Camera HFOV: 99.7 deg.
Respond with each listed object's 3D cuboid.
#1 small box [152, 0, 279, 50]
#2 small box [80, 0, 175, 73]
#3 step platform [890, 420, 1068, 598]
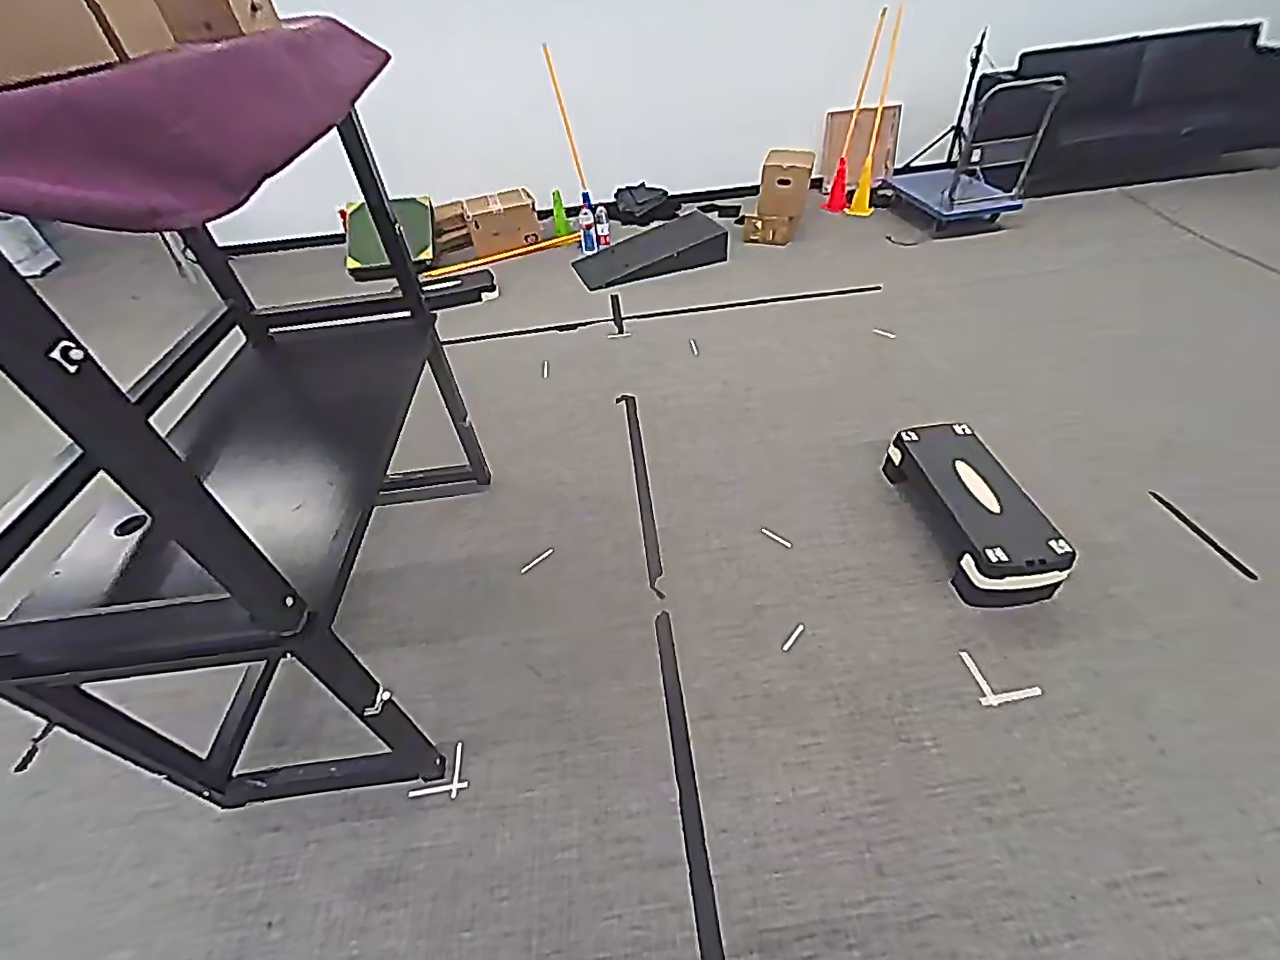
[{"bbox_3d":[-0.860,-0.969,1.069,0.168,0.176,0.179,-6,43,2],"label":"small box"},{"bbox_3d":[-0.866,-0.726,0.818,0.168,0.176,0.179,-12,44,-4],"label":"small box"},{"bbox_3d":[1.123,0.065,1.858,0.286,0.204,0.684,-4,42,3],"label":"step platform"}]
